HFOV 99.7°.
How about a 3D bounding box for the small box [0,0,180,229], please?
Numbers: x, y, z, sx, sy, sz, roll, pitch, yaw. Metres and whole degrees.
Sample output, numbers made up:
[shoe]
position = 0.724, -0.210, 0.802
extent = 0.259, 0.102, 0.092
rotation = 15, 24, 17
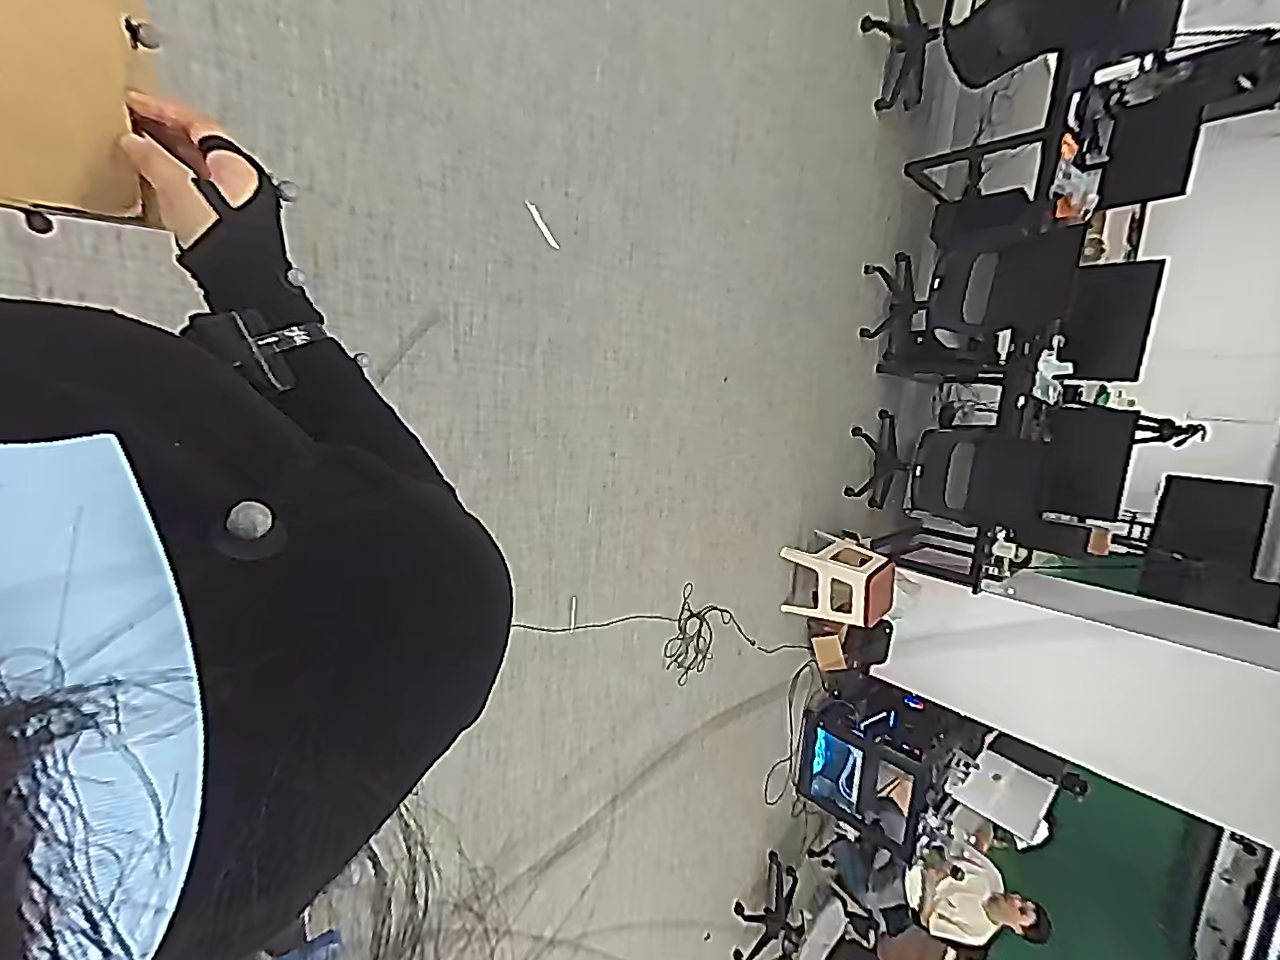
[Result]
[small box]
position = -0.452, -0.290, 0.385
extent = 0.168, 0.176, 0.179
rotation = -4, 111, -33
